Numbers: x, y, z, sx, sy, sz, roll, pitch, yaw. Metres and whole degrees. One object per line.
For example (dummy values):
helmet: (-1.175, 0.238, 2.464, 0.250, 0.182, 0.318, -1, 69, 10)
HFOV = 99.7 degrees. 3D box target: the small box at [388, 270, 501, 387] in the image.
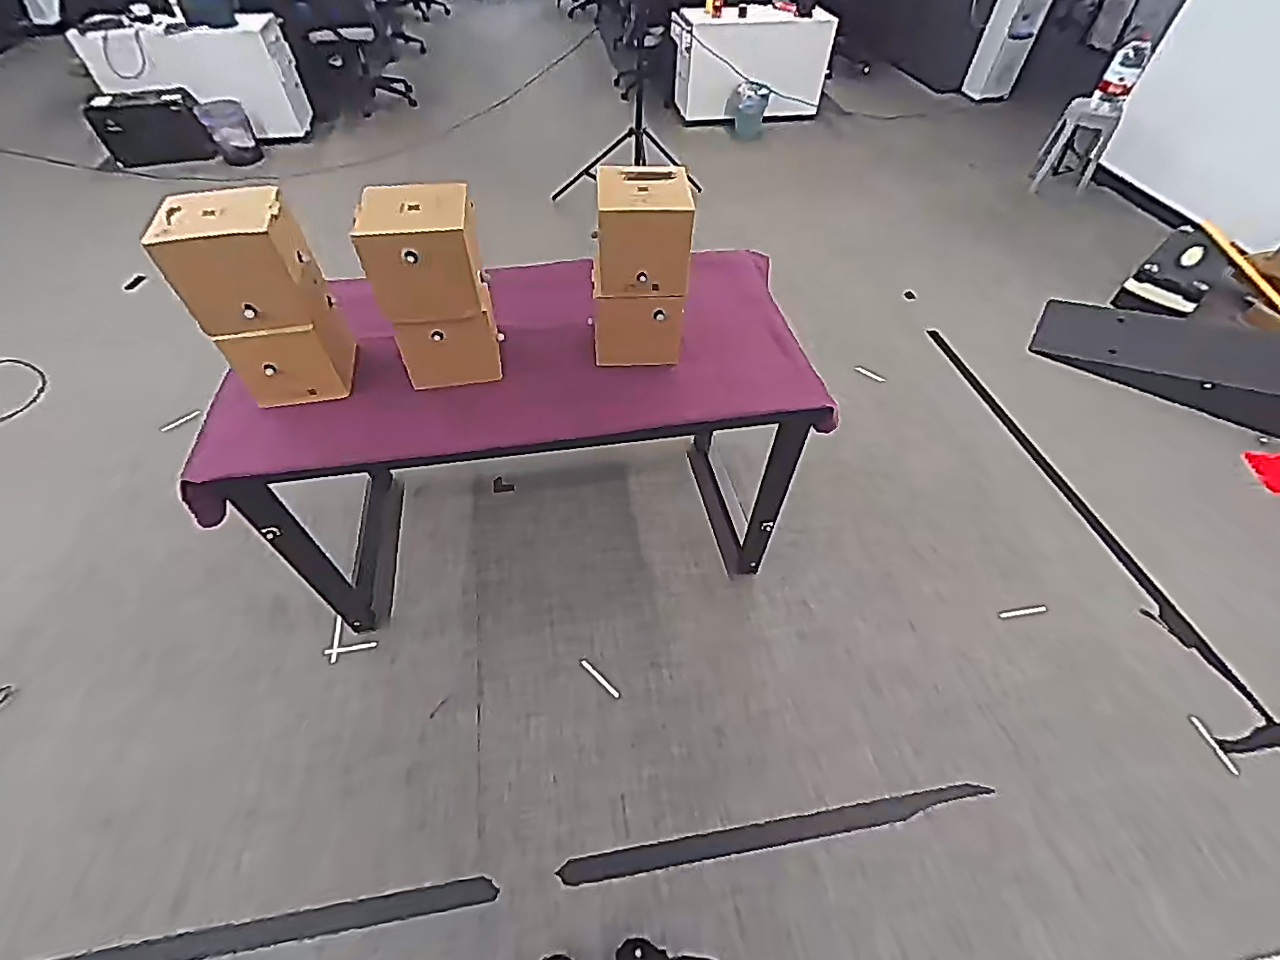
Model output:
small box: (-0.387, -0.304, 1.093, 0.179, 0.176, 0.168, -9, 52, -9)

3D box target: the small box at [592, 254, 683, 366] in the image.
small box: (-0.010, -0.356, 1.144, 0.179, 0.176, 0.168, -2, 50, -3)

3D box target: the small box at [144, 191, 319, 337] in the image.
small box: (-0.679, -0.369, 0.928, 0.179, 0.176, 0.168, -11, 52, -11)

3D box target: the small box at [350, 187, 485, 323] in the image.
small box: (-0.382, -0.395, 0.959, 0.179, 0.176, 0.168, -6, 53, -8)

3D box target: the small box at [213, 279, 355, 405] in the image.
small box: (-0.676, -0.261, 1.052, 0.168, 0.176, 0.179, -10, 52, -10)
